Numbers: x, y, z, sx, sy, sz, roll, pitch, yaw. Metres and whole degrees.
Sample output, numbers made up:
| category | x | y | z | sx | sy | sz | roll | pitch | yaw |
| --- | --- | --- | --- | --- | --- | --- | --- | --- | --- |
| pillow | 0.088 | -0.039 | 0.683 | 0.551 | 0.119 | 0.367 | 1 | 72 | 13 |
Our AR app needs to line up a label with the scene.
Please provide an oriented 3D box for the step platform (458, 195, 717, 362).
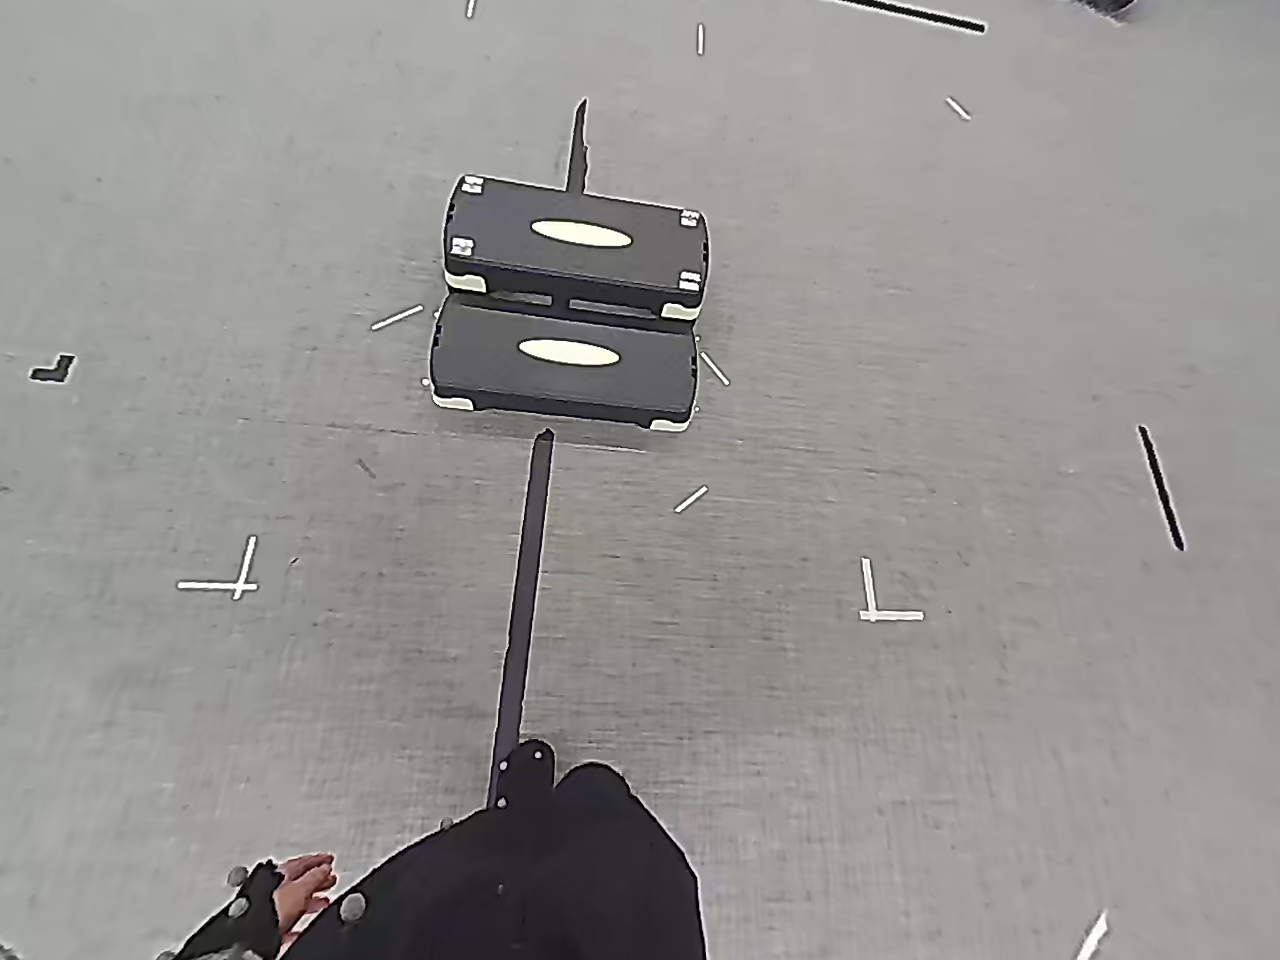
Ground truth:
| category | x | y | z | sx | sy | sz | roll | pitch | yaw |
| --- | --- | --- | --- | --- | --- | --- | --- | --- | --- |
| step platform | -0.134 | -0.544 | 1.477 | 0.684 | 0.204 | 0.286 | 10 | 68 | -6 |
